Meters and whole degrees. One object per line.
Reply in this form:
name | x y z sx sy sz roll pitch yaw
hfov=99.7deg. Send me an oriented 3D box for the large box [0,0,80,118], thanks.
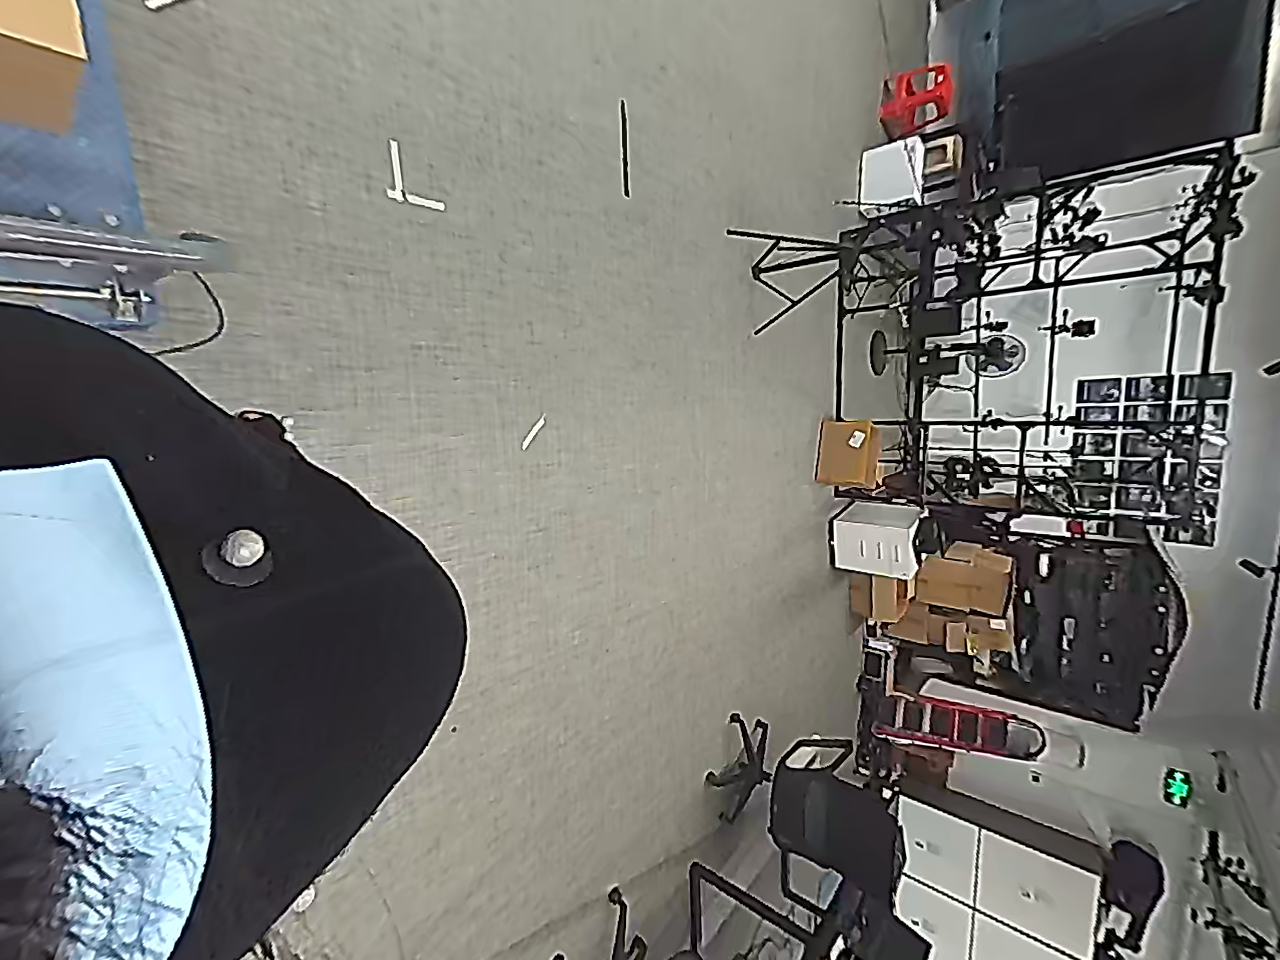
large box | -1.001 -0.711 0.651 0.408 0.320 0.320 -13 103 -48
